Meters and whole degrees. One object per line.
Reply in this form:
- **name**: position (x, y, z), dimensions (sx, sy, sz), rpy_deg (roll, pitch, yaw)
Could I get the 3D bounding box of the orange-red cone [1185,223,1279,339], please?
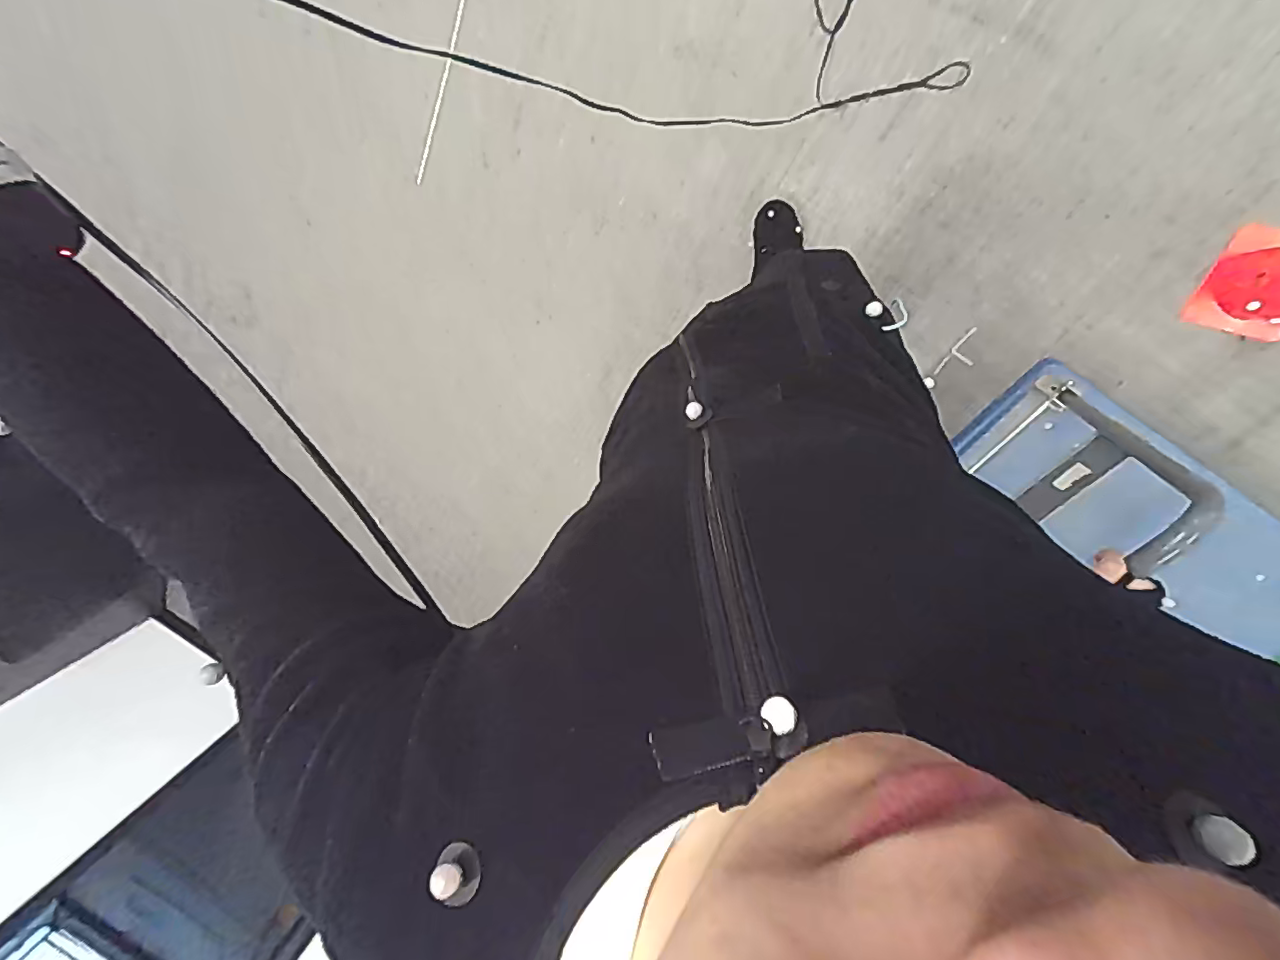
- **orange-red cone**: position (1.254, -0.345, 0.982), dimensions (0.198, 0.360, 0.199), rpy_deg (21, 118, 8)
